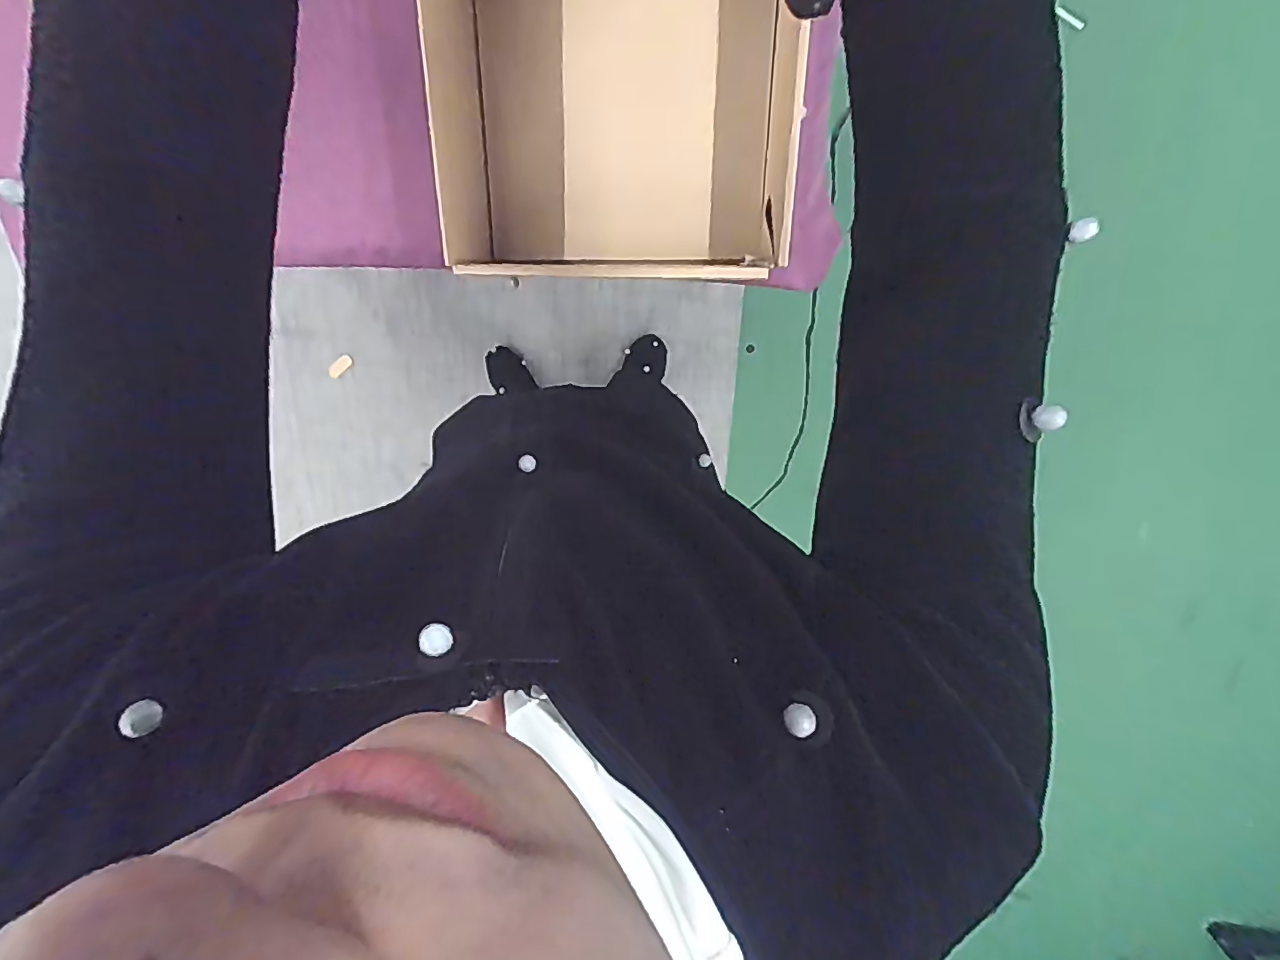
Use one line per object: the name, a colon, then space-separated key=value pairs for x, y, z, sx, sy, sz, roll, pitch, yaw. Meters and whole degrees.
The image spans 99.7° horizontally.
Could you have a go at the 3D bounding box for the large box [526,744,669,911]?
large box: x=-0.139 y=1.253 z=1.967 sx=0.408 sy=0.320 sz=0.320 roll=-30 pitch=106 yaw=12
